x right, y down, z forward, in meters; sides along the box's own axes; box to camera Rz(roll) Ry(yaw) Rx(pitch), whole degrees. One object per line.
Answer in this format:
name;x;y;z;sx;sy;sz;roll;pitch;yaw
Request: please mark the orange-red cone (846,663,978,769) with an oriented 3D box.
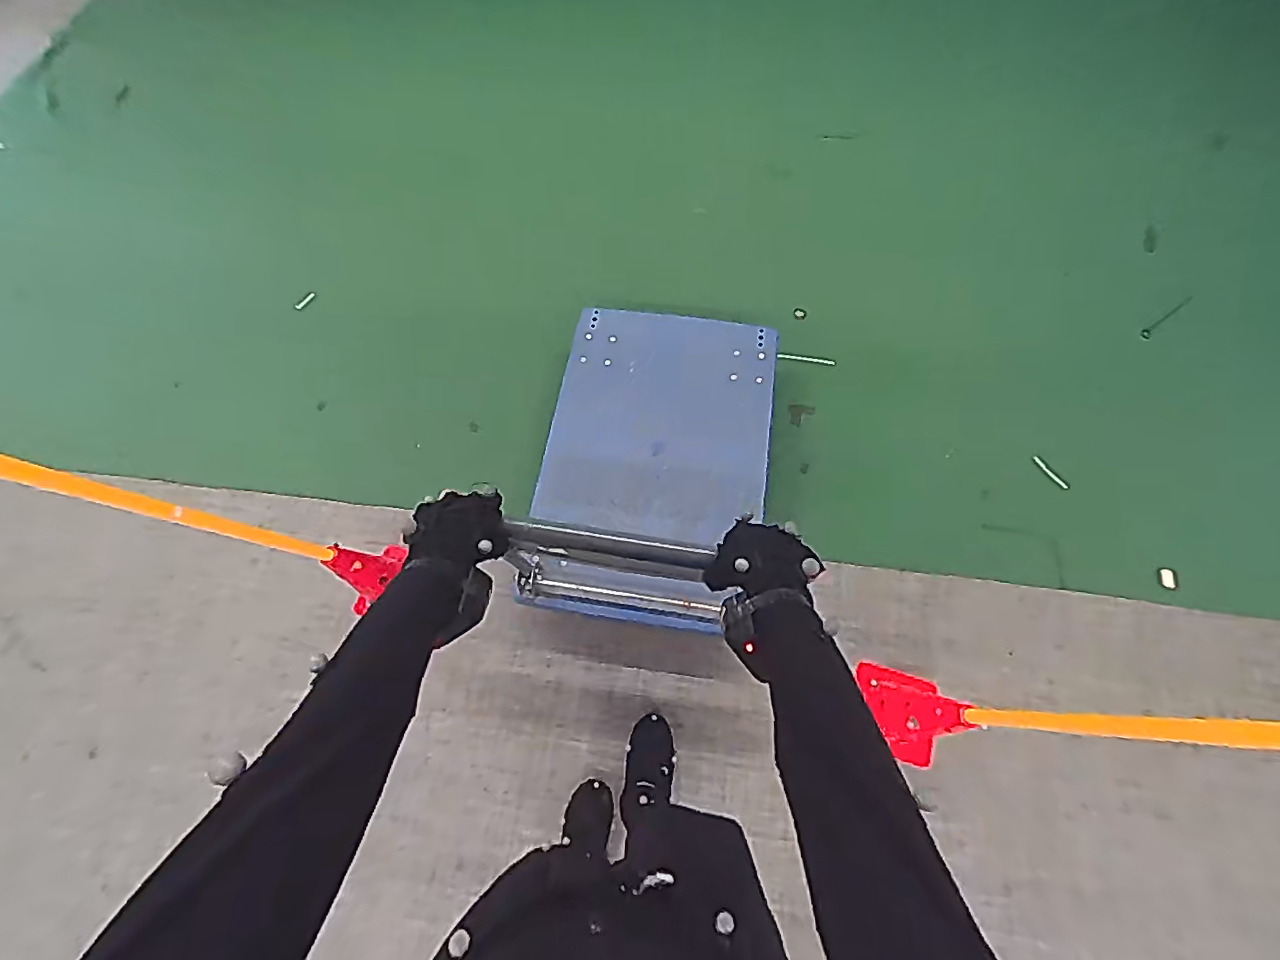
orange-red cone;0.605;0.500;1.148;0.198;0.360;0.199;17;69;9
